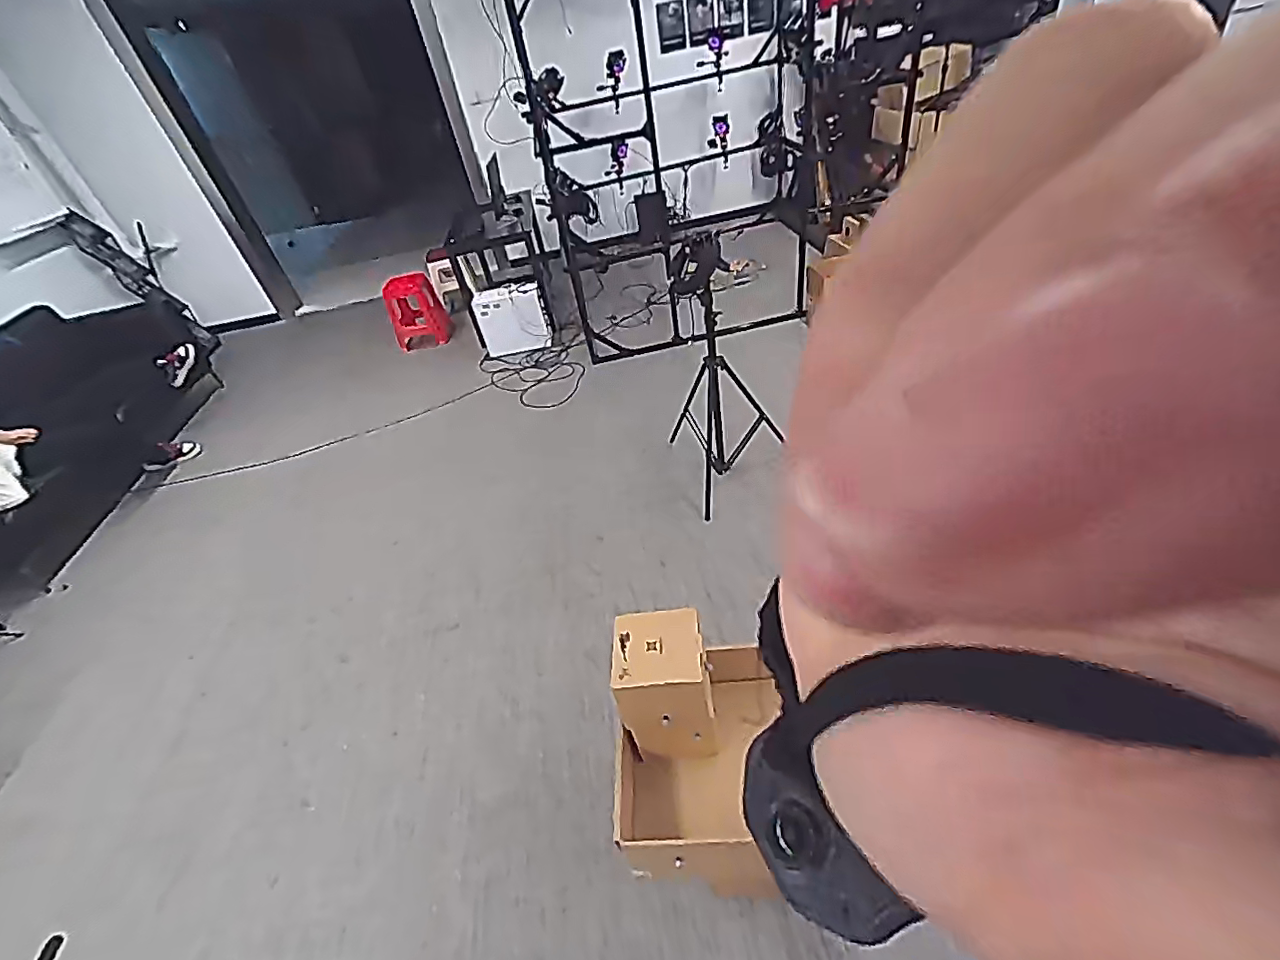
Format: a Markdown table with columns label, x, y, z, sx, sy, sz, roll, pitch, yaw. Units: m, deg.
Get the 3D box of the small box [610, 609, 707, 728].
| label | x | y | z | sx | sy | sz | roll | pitch | yaw |
| --- | --- | --- | --- | --- | --- | --- | --- | --- | --- |
| small box | 0.044 | 0.383 | 1.097 | 0.179 | 0.176 | 0.168 | -6 | 39 | 7 |
